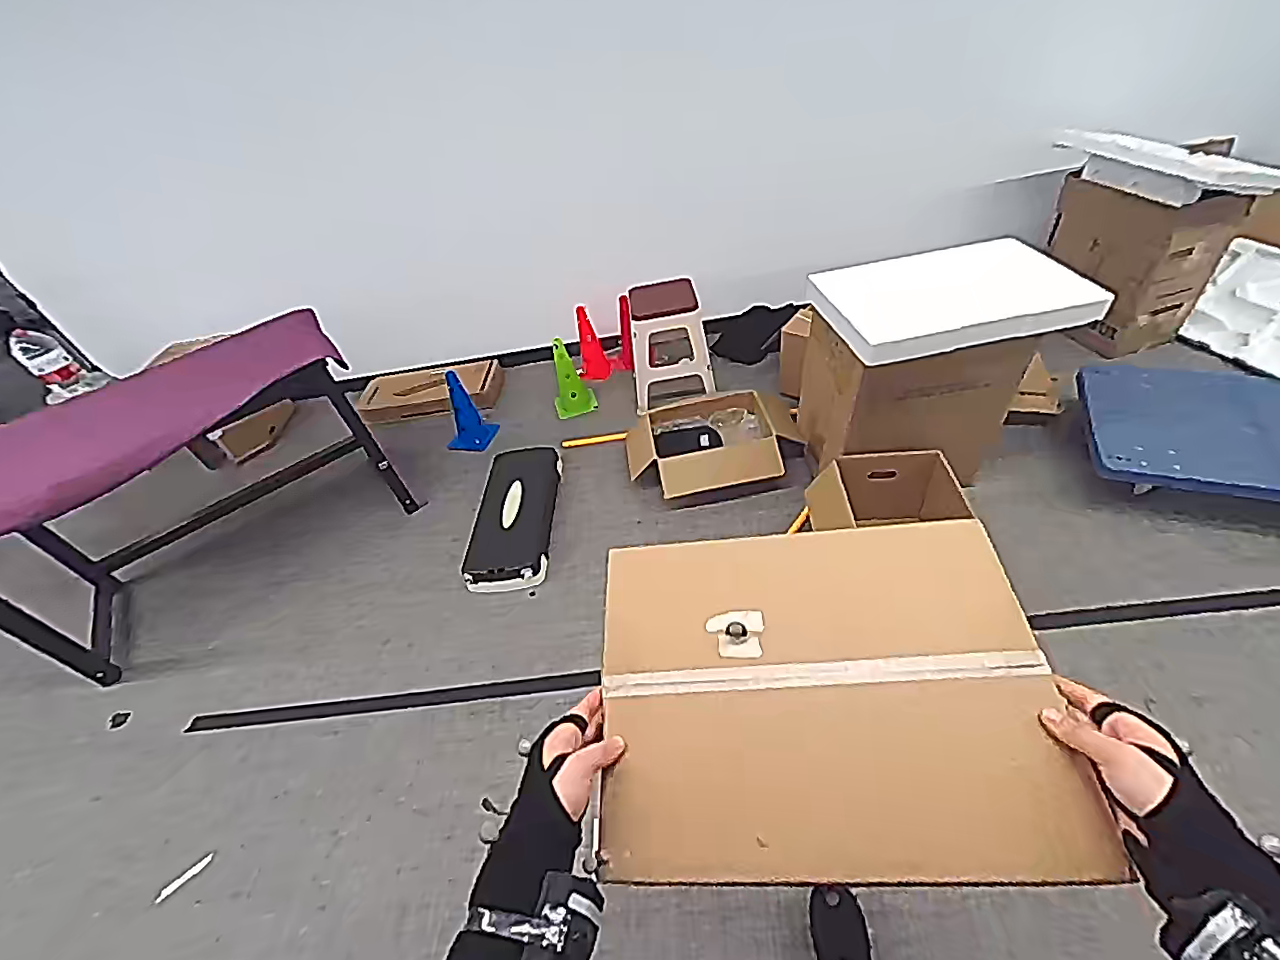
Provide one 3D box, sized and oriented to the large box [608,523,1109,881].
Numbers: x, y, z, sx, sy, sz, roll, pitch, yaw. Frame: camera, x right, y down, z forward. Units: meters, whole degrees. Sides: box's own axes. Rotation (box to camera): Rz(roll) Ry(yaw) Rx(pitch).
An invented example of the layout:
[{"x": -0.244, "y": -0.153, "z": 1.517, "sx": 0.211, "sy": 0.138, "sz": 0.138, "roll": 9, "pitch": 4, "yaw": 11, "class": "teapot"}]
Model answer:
[{"x": 0.192, "y": 0.280, "z": 0.644, "sx": 0.408, "sy": 0.320, "sz": 0.320, "roll": -7, "pitch": 52, "yaw": 8, "class": "large box"}]
